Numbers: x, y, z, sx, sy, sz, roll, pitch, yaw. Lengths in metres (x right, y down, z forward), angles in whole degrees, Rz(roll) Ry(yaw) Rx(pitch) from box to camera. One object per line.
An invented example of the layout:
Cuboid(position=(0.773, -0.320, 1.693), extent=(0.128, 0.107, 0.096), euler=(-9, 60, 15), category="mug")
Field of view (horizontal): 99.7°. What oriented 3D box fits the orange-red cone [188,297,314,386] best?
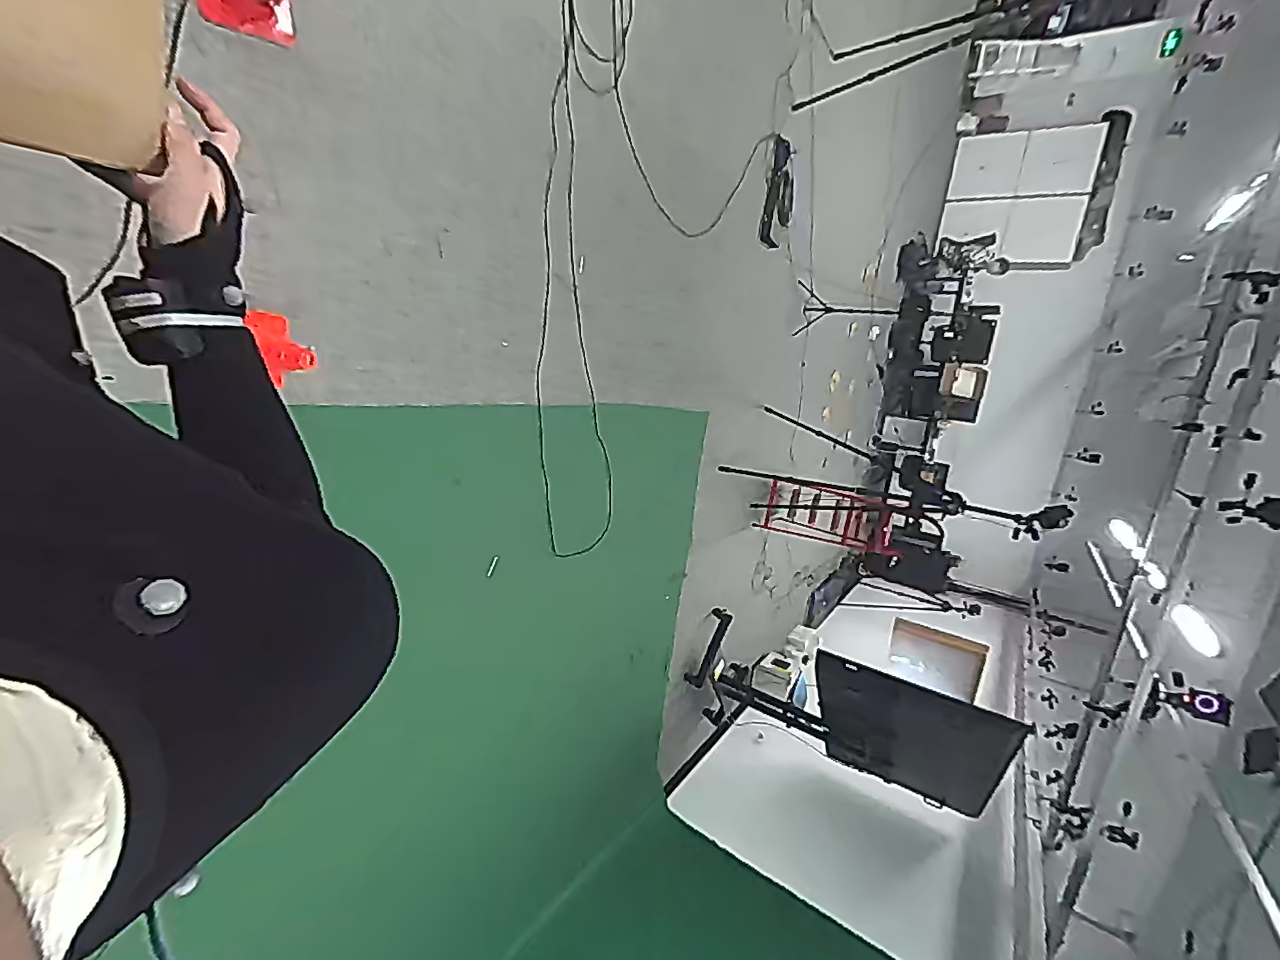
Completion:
Cuboid(position=(-0.892, -0.312, 1.304), extent=(0.199, 0.360, 0.198), euler=(1, 103, -59), category="orange-red cone")
